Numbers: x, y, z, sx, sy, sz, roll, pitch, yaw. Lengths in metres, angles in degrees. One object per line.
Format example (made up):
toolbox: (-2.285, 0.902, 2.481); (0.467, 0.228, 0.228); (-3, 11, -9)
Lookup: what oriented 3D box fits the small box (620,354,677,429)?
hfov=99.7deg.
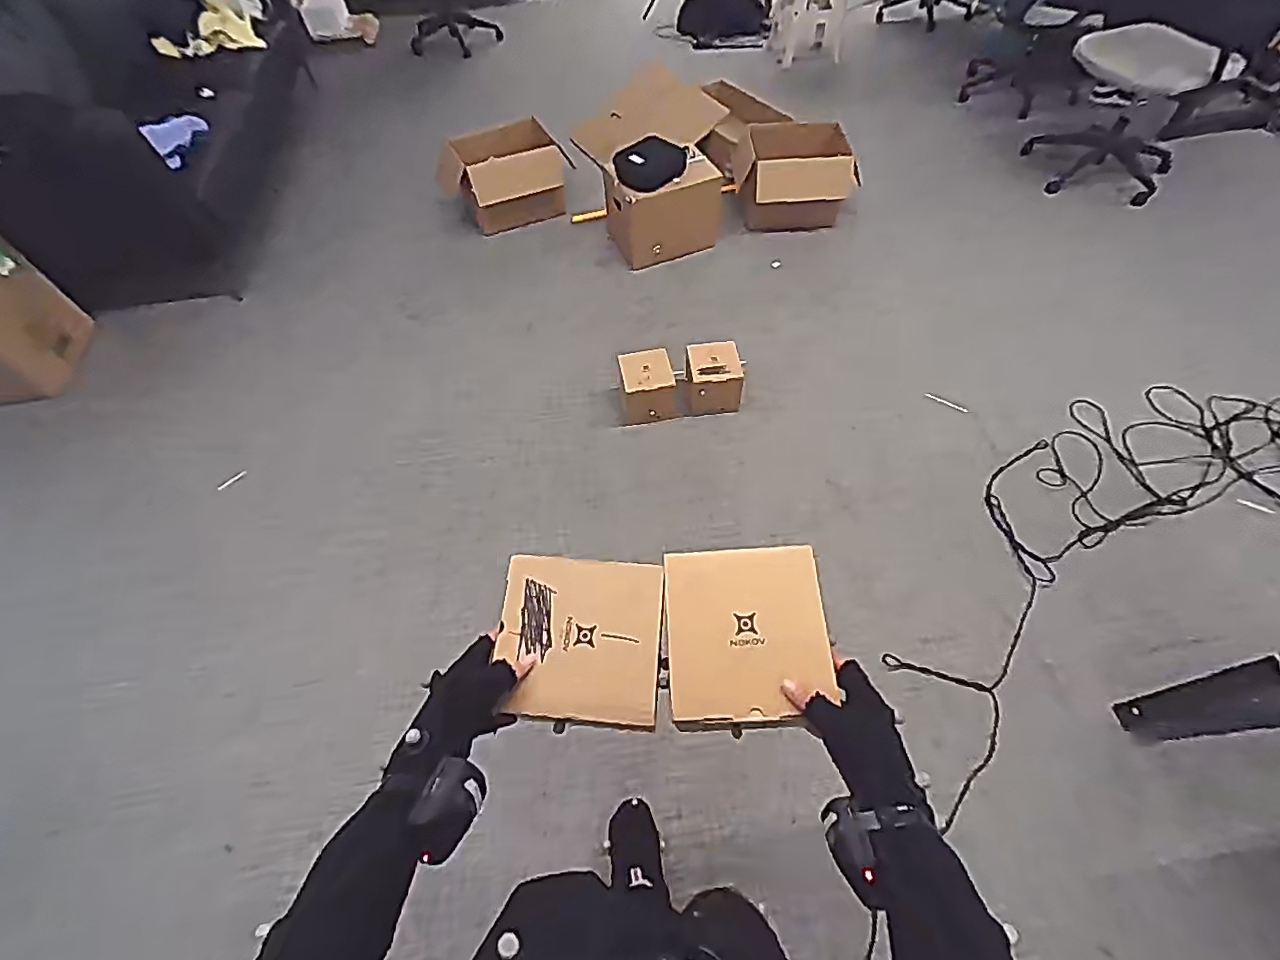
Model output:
small box: (0.026, -0.298, 1.836); (0.168, 0.176, 0.179); (-10, 56, -3)
